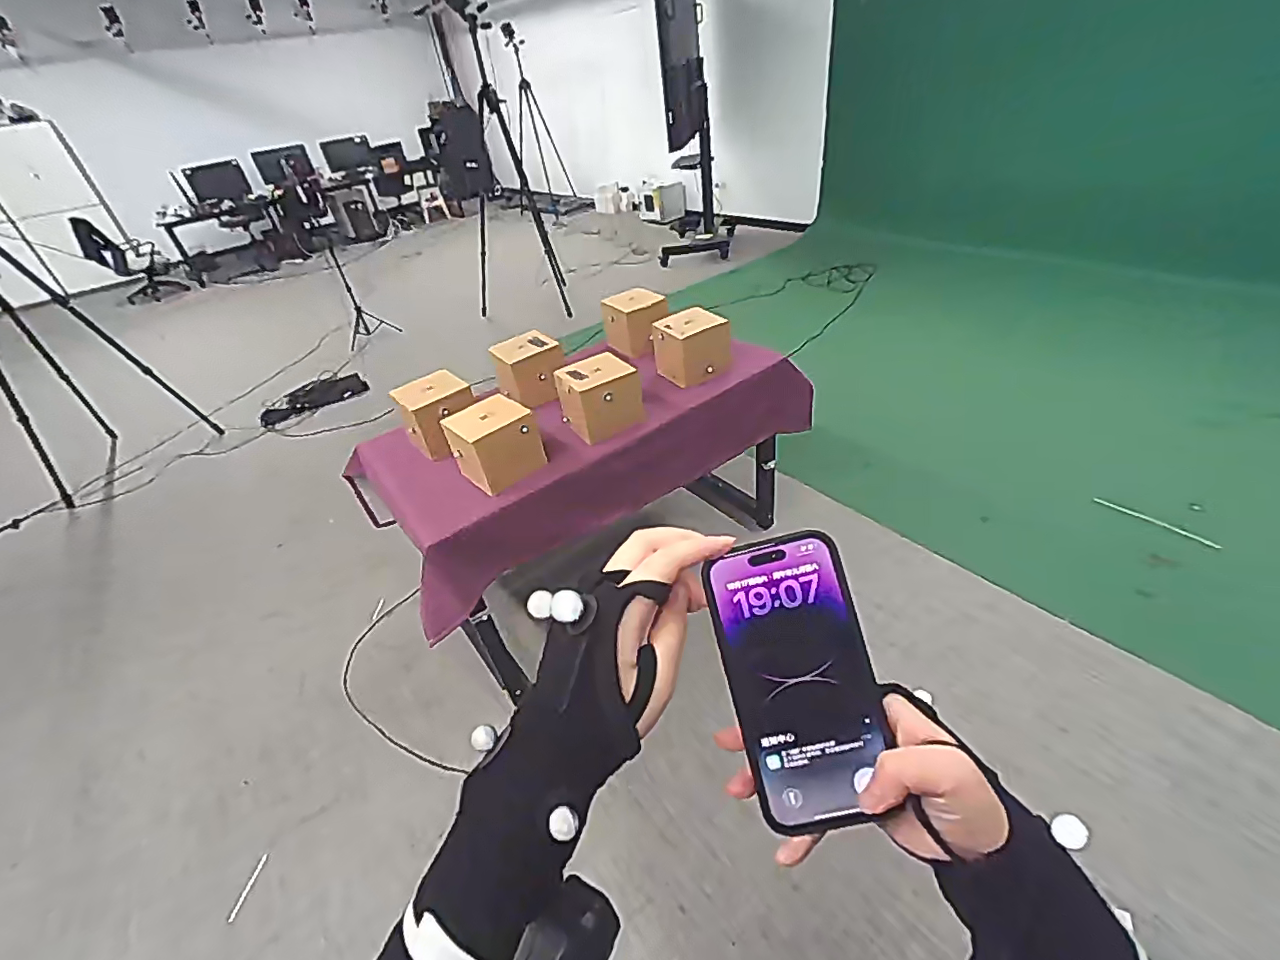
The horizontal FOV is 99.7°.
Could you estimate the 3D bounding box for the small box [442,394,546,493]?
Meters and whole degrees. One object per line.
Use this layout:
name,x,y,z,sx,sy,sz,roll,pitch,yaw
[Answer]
small box,-0.365,-0.093,1.378,0.179,0.176,0.168,-33,43,-30

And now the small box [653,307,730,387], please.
small box,0.160,-0.412,1.676,0.179,0.176,0.168,-25,40,-20

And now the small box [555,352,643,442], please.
small box,-0.110,-0.230,1.499,0.179,0.176,0.168,-25,40,-21

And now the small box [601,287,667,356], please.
small box,-0.016,-0.554,1.894,0.168,0.176,0.179,-28,42,-22
